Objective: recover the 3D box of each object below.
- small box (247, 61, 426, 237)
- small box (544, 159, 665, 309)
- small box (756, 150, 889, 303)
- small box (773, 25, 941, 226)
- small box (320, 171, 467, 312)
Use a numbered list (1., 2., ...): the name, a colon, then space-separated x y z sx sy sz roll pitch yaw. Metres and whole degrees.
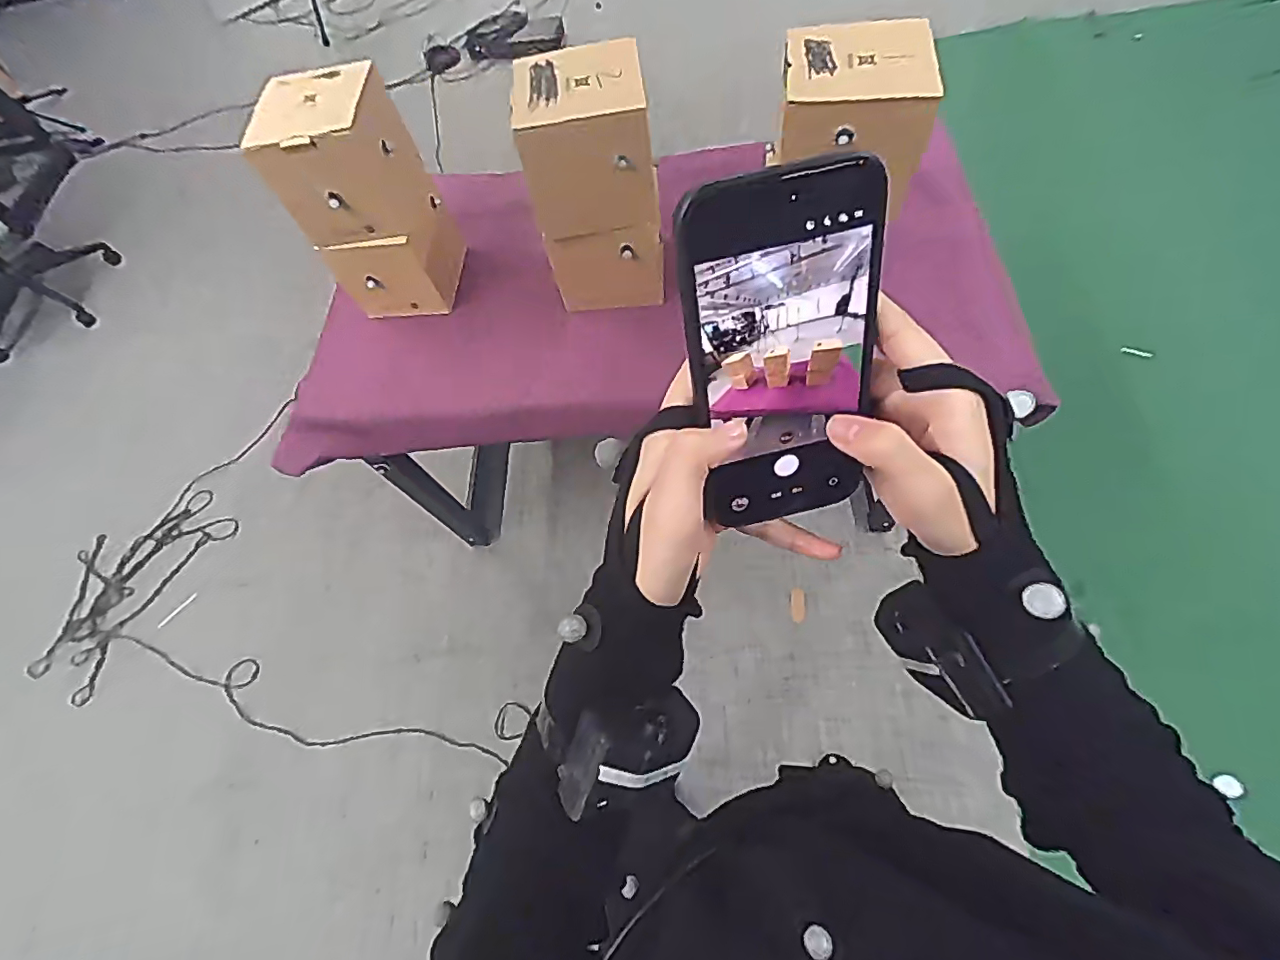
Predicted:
1. small box: -0.456 -0.503 0.845 0.168 0.176 0.179 -5 64 5
2. small box: -0.049 -0.414 0.928 0.179 0.176 0.168 -1 64 7
3. small box: 0.288 -0.407 0.879 0.179 0.176 0.168 4 65 11
4. small box: 0.275 -0.465 0.726 0.179 0.176 0.168 4 65 9
5. small box: -0.436 -0.424 0.988 0.168 0.176 0.179 -1 64 8
